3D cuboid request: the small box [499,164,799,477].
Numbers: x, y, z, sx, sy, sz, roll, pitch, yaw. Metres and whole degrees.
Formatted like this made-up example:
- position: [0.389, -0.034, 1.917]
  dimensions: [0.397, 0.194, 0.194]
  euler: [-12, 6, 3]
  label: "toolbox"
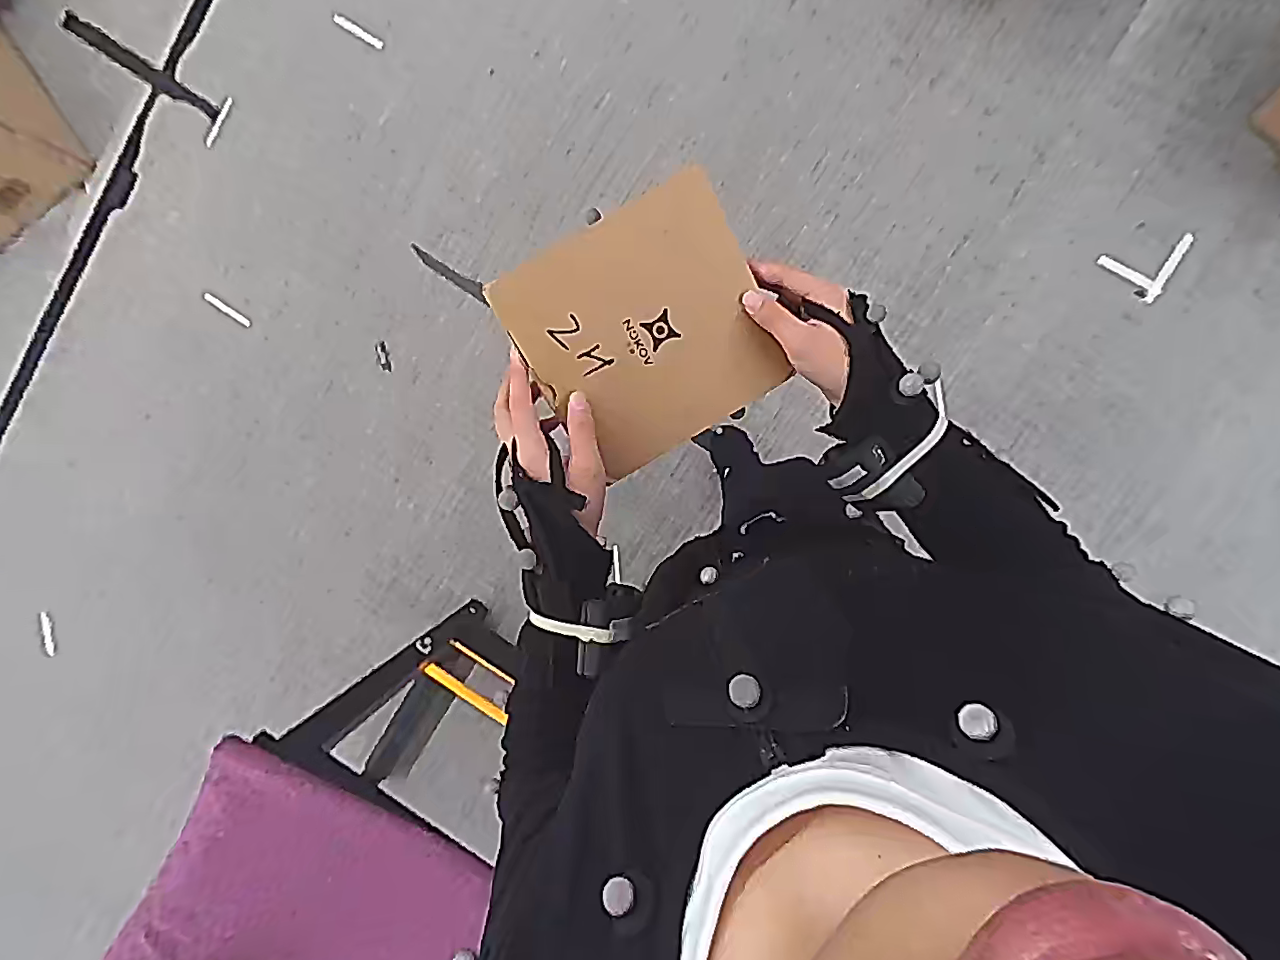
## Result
- position: [0.000, -0.130, 0.467]
  dimensions: [0.179, 0.176, 0.168]
  euler: [-30, 107, -1]
  label: "small box"
